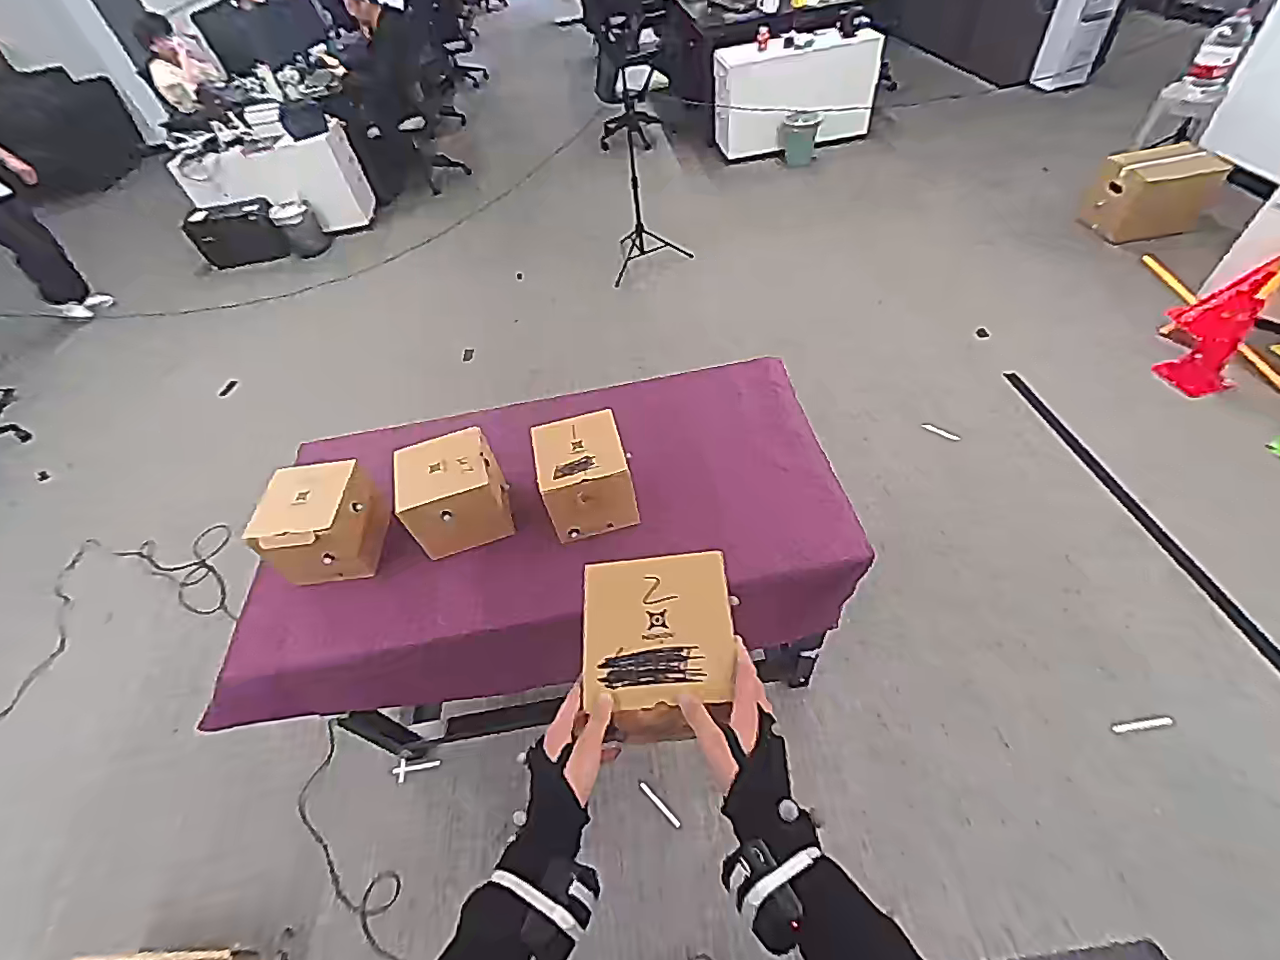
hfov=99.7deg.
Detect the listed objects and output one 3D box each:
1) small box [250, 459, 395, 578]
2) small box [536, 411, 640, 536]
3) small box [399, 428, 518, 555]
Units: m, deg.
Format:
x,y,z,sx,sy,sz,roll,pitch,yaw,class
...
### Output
x,y,z,sx,sy,sz,roll,pitch,yaw,class
-0.619,0.084,1.083,0.168,0.176,0.179,-6,49,2,small box
-0.101,-0.006,1.082,0.168,0.176,0.179,-14,49,-3,small box
-0.364,0.027,1.091,0.179,0.176,0.168,-17,50,-6,small box
